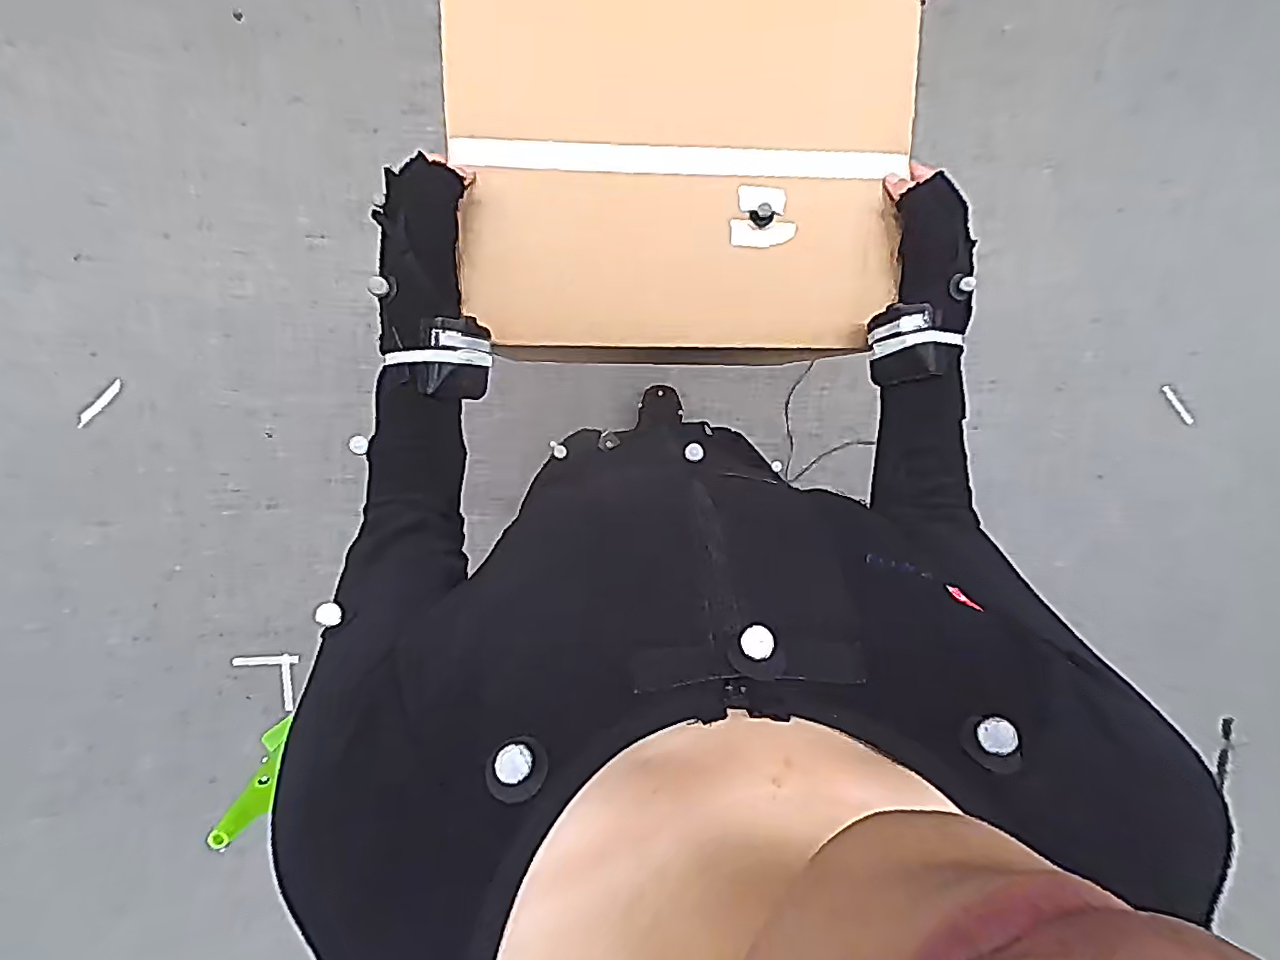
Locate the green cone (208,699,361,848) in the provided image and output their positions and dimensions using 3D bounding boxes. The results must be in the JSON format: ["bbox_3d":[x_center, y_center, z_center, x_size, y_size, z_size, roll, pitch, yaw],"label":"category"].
[{"bbox_3d":[-0.895,0.740,1.320,0.202,0.368,0.200,-37,94,3],"label":"green cone"}]

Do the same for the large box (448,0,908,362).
[{"bbox_3d":[0.026,-0.306,0.624,0.408,0.320,0.320,-1,100,-6],"label":"large box"}]
